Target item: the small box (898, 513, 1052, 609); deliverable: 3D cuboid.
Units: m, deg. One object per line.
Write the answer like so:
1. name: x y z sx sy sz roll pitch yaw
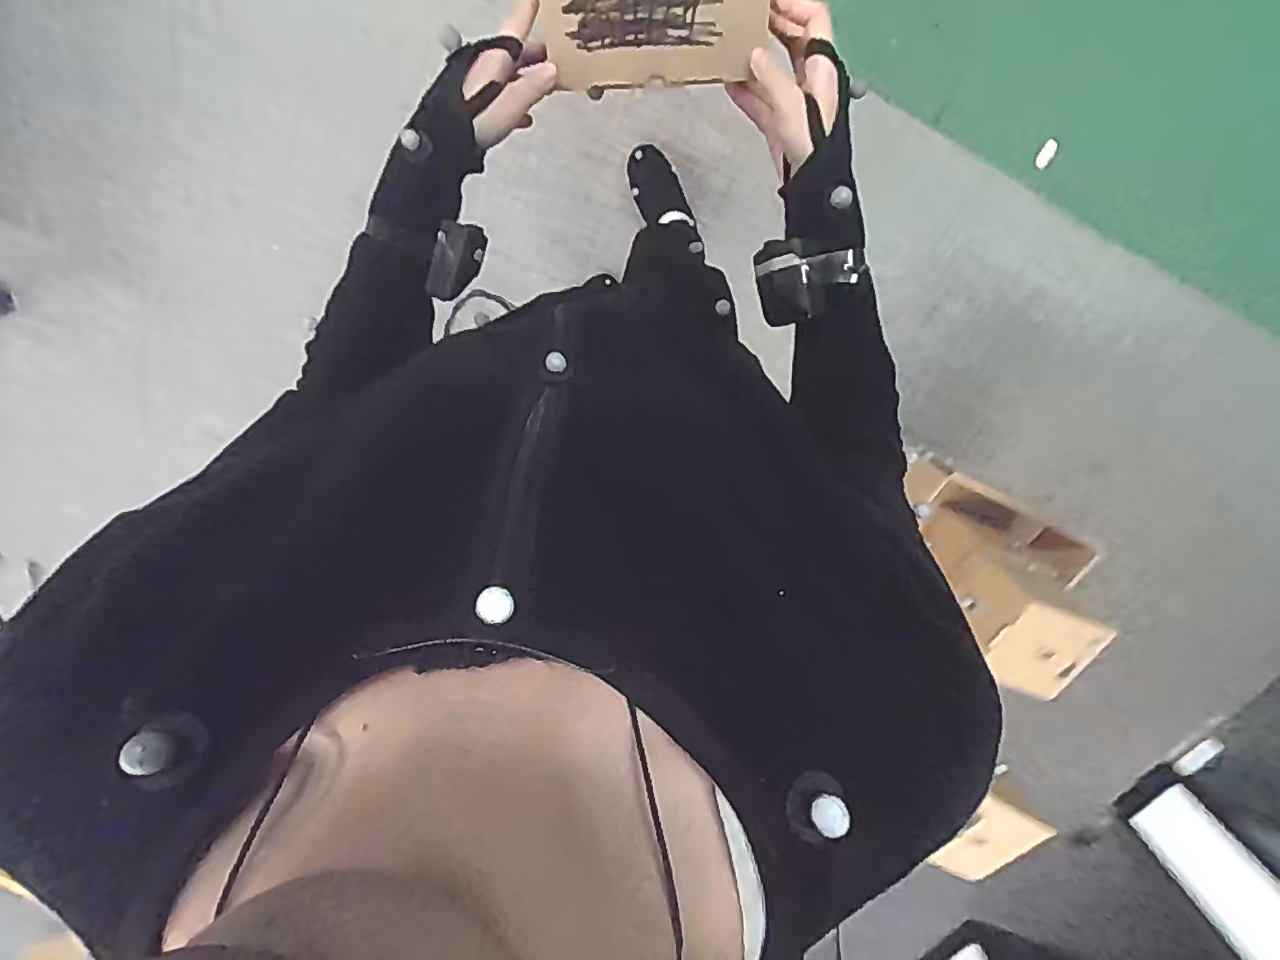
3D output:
1. small box: 0.684 0.192 1.127 0.179 0.176 0.168 21 113 -9

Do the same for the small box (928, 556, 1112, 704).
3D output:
1. small box: 0.667 0.262 0.979 0.179 0.176 0.168 21 114 -9
